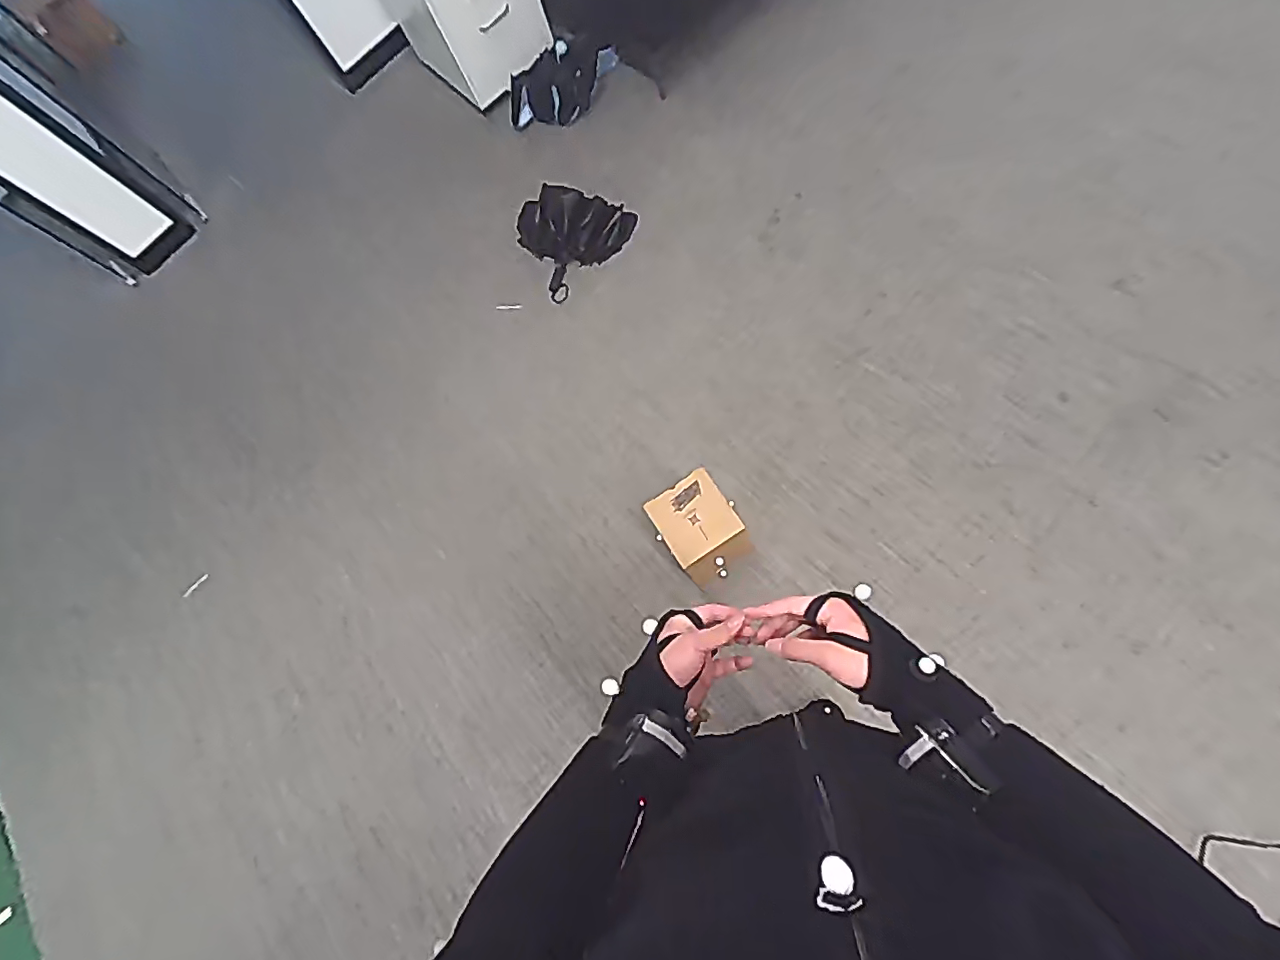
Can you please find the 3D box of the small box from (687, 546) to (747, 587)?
[{"bbox_3d":[0.169,0.166,1.435,0.168,0.176,0.179,-34,70,1],"label":"small box"}]

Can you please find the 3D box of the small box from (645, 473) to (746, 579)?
[{"bbox_3d":[0.136,0.117,1.281,0.168,0.176,0.179,-33,69,2],"label":"small box"}]
